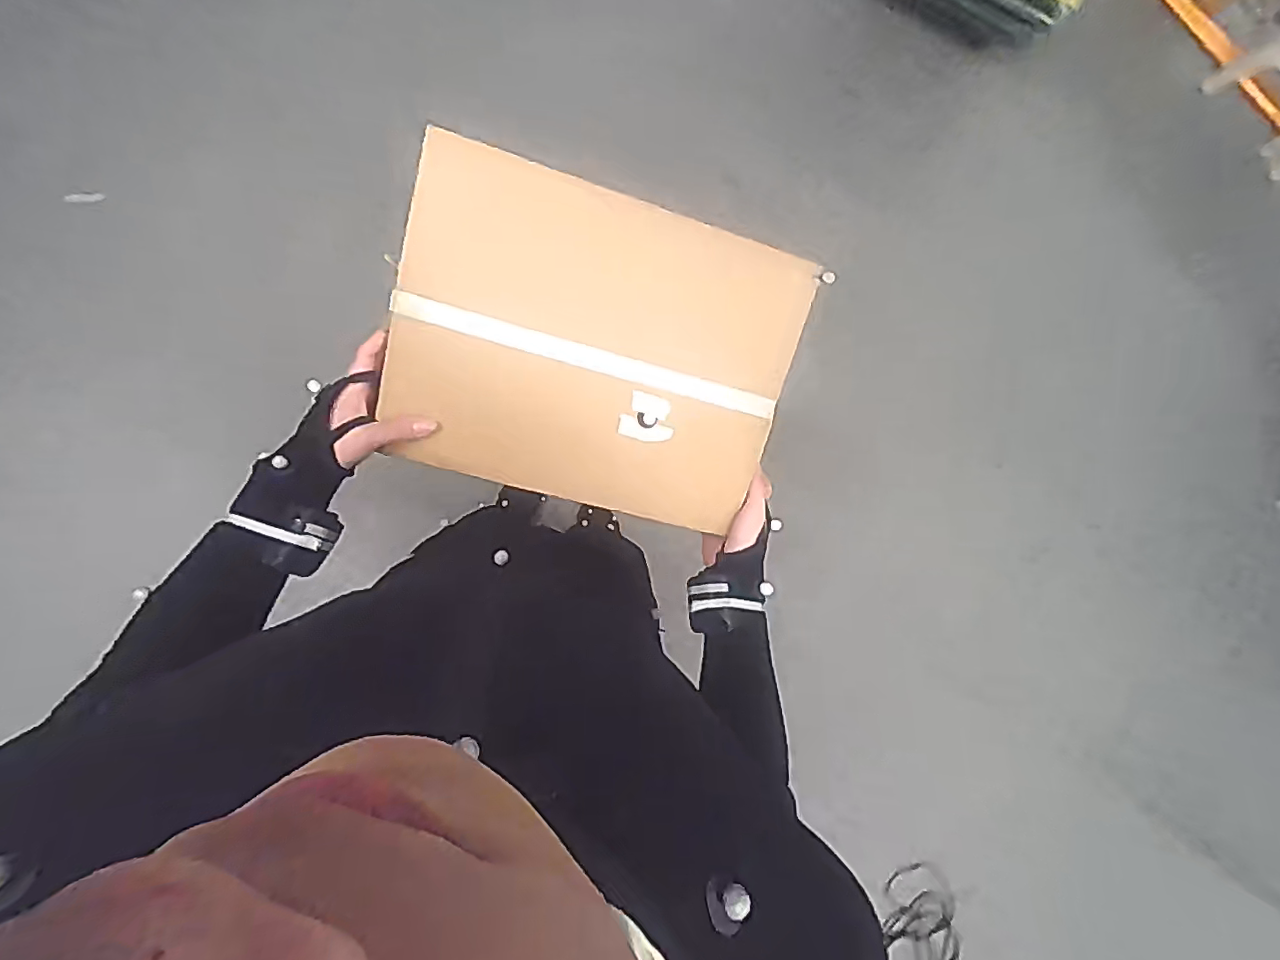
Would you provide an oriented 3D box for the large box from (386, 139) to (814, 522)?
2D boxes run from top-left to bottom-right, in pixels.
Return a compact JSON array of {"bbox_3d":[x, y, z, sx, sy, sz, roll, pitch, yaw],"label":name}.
[{"bbox_3d":[-0.063,-0.172,0.710,0.408,0.320,0.320,13,104,-12],"label":"large box"}]
